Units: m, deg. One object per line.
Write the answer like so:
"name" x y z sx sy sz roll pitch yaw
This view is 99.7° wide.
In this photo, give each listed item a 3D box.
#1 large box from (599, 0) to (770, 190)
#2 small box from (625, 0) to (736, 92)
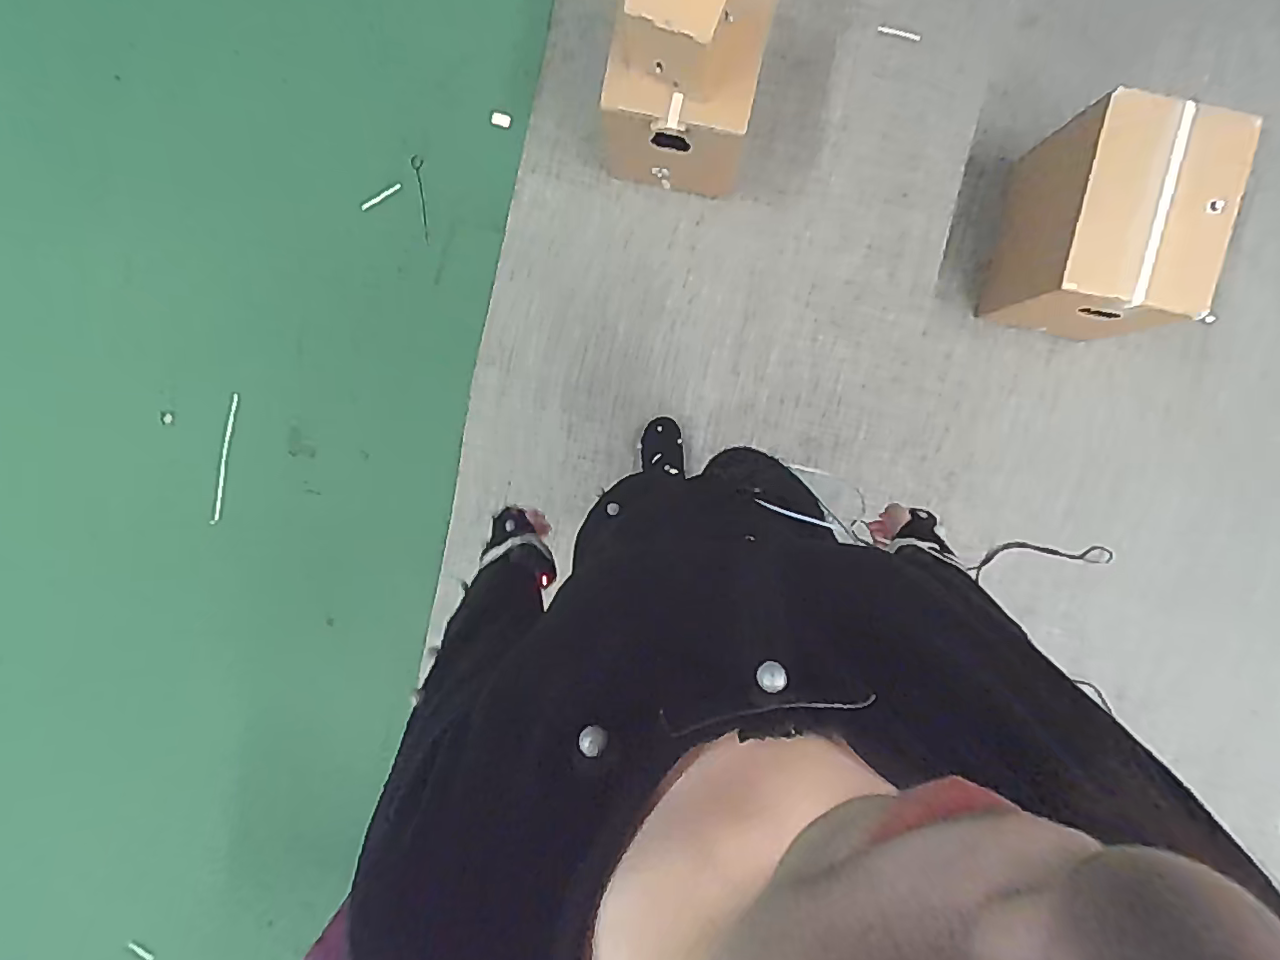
"large box" 0.105 -0.954 1.241 0.320 0.320 0.408 12 95 0
"small box" 0.080 -0.881 1.004 0.168 0.176 0.179 22 97 1
